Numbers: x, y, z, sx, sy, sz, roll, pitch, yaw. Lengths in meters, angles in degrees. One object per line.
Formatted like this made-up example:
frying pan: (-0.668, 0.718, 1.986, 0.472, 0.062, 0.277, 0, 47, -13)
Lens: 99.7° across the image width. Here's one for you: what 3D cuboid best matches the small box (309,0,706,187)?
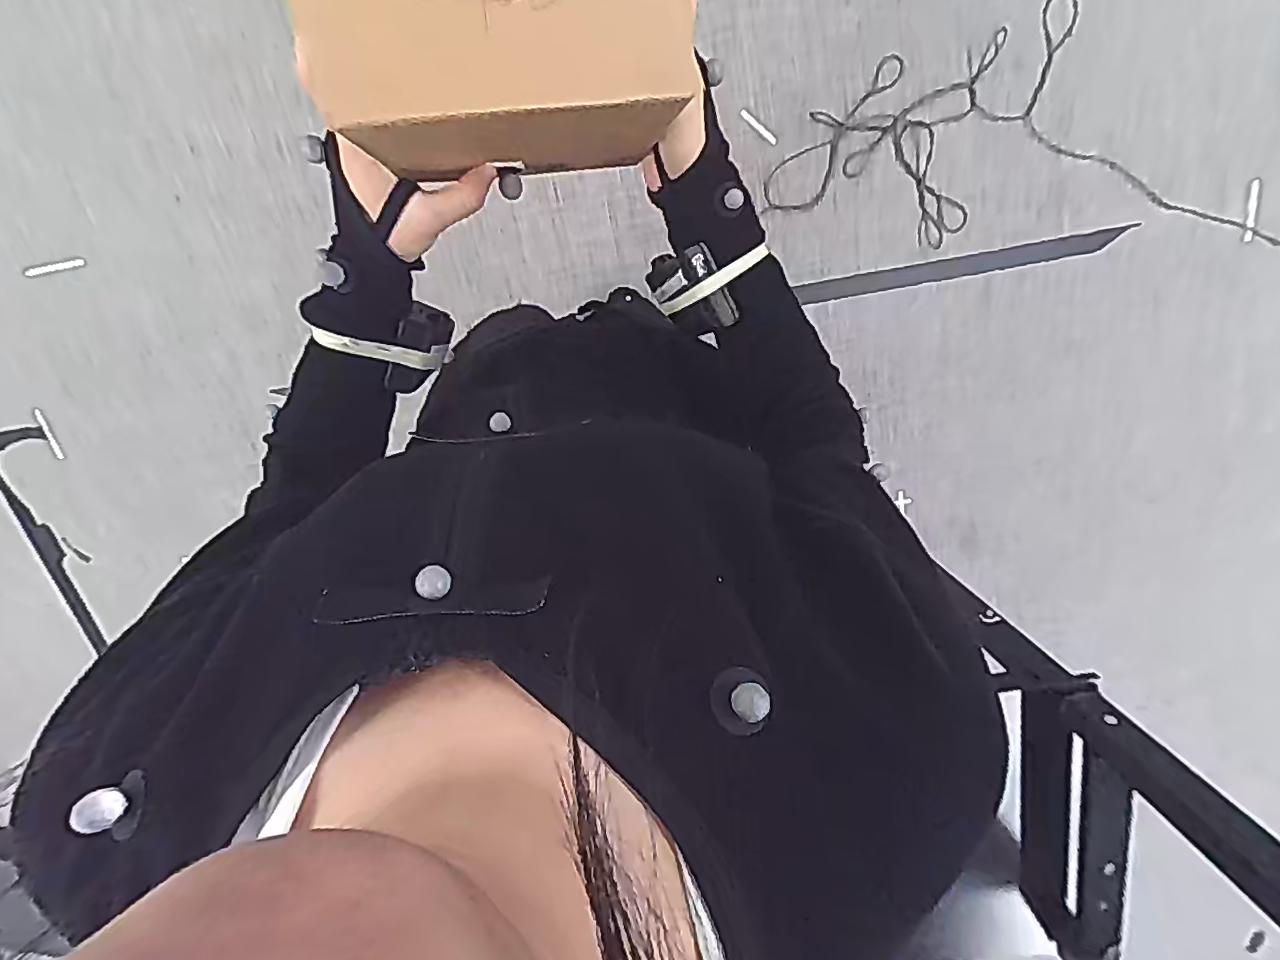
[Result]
small box: (-0.072, -0.273, 0.285, 0.168, 0.176, 0.179, -10, 111, -6)
